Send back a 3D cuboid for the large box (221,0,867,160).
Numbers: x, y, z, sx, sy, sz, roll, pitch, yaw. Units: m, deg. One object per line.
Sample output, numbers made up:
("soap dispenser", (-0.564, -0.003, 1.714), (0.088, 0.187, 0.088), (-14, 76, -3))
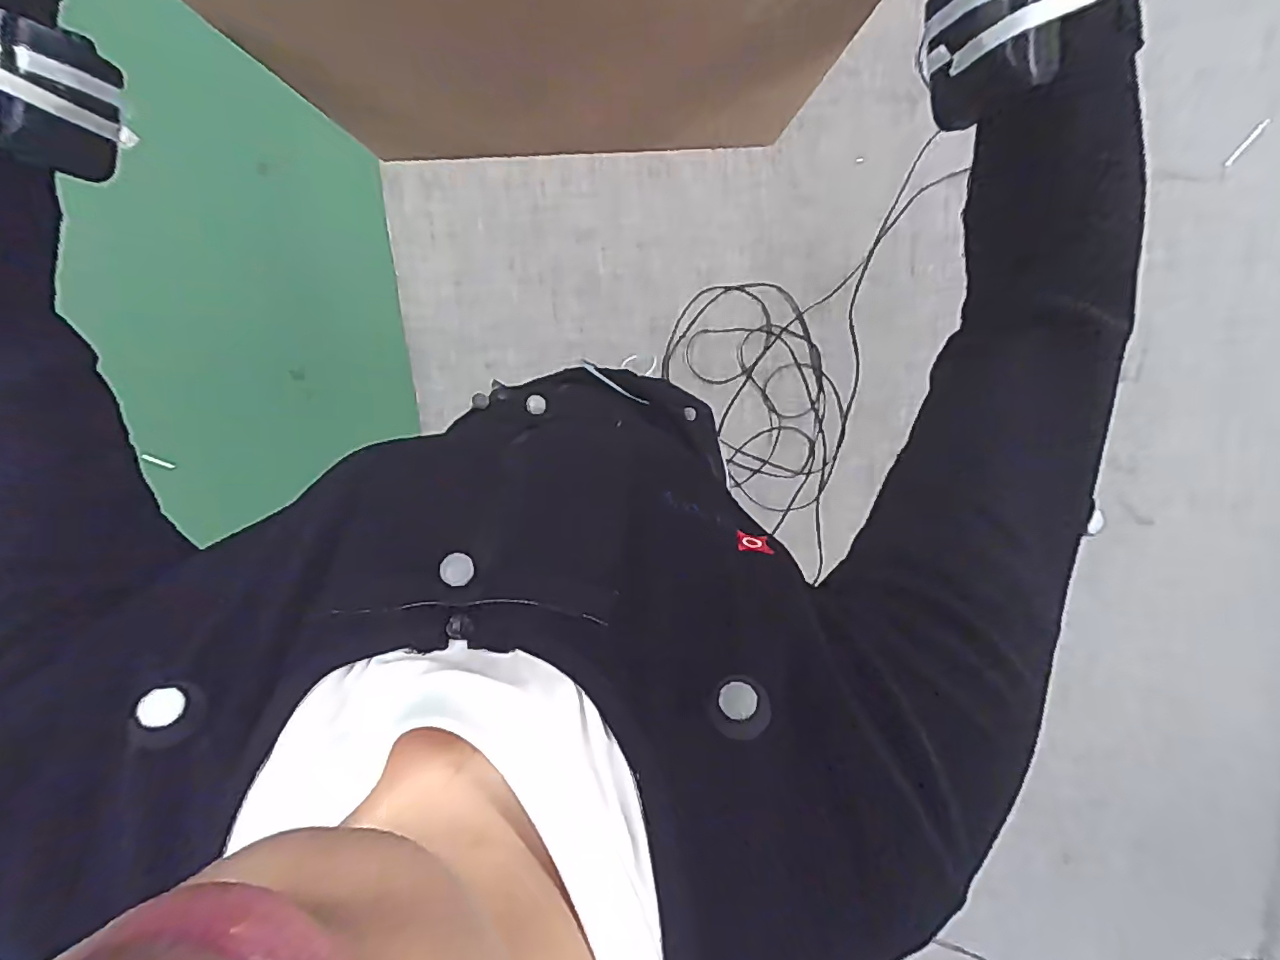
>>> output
("large box", (-0.062, -0.453, 0.378), (0.408, 0.320, 0.320), (-4, 103, -3))
